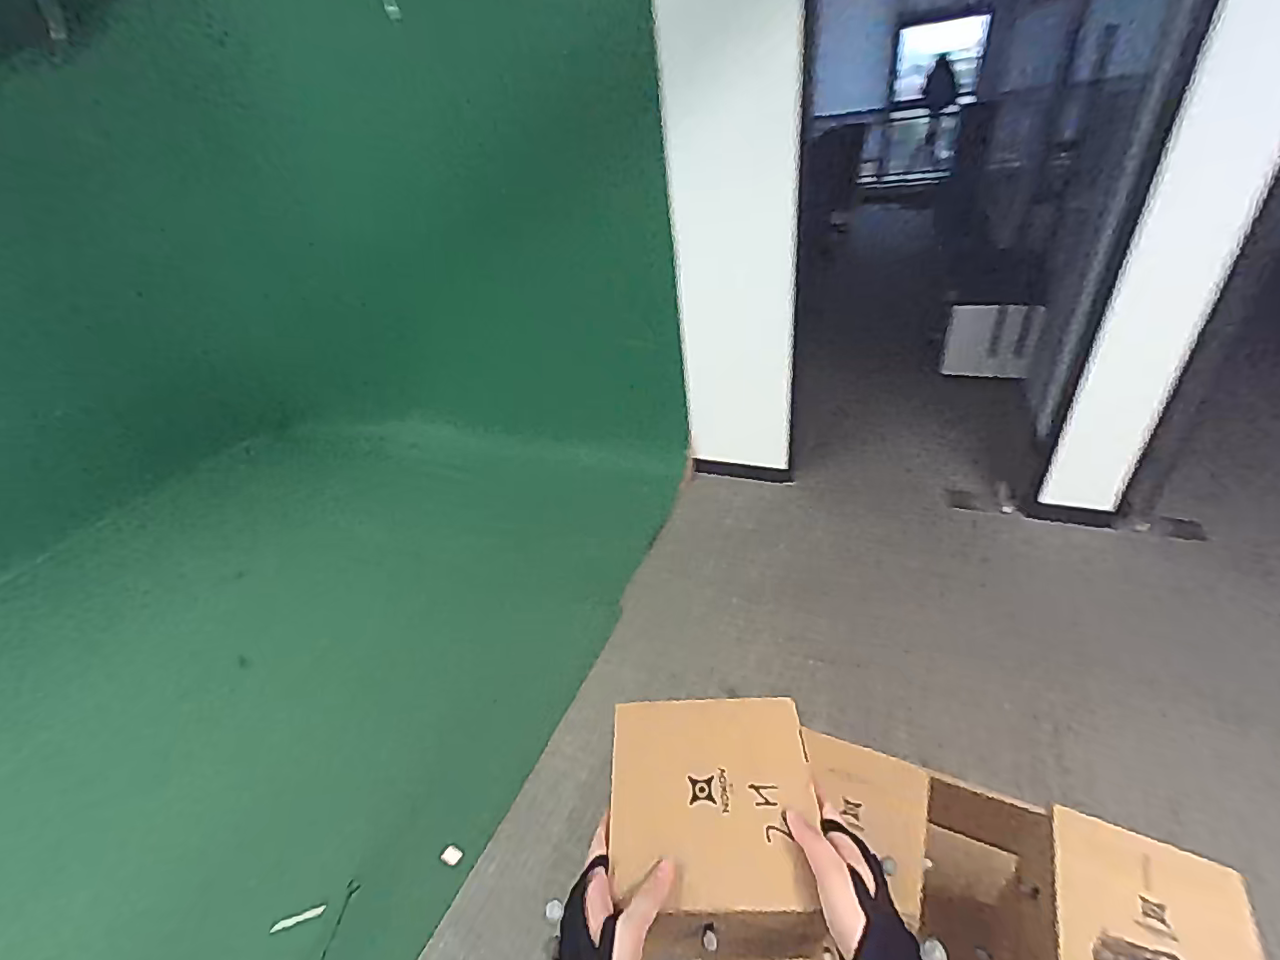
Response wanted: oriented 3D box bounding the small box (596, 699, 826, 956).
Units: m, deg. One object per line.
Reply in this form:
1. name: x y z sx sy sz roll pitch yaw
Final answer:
1. small box: 0.062 0.330 0.513 0.179 0.176 0.168 -4 40 4

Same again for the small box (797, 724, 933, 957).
1. small box: 0.275 0.470 0.711 0.168 0.176 0.179 10 39 26

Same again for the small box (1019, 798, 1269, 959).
1. small box: 0.536 0.505 0.594 0.168 0.176 0.179 12 40 28
